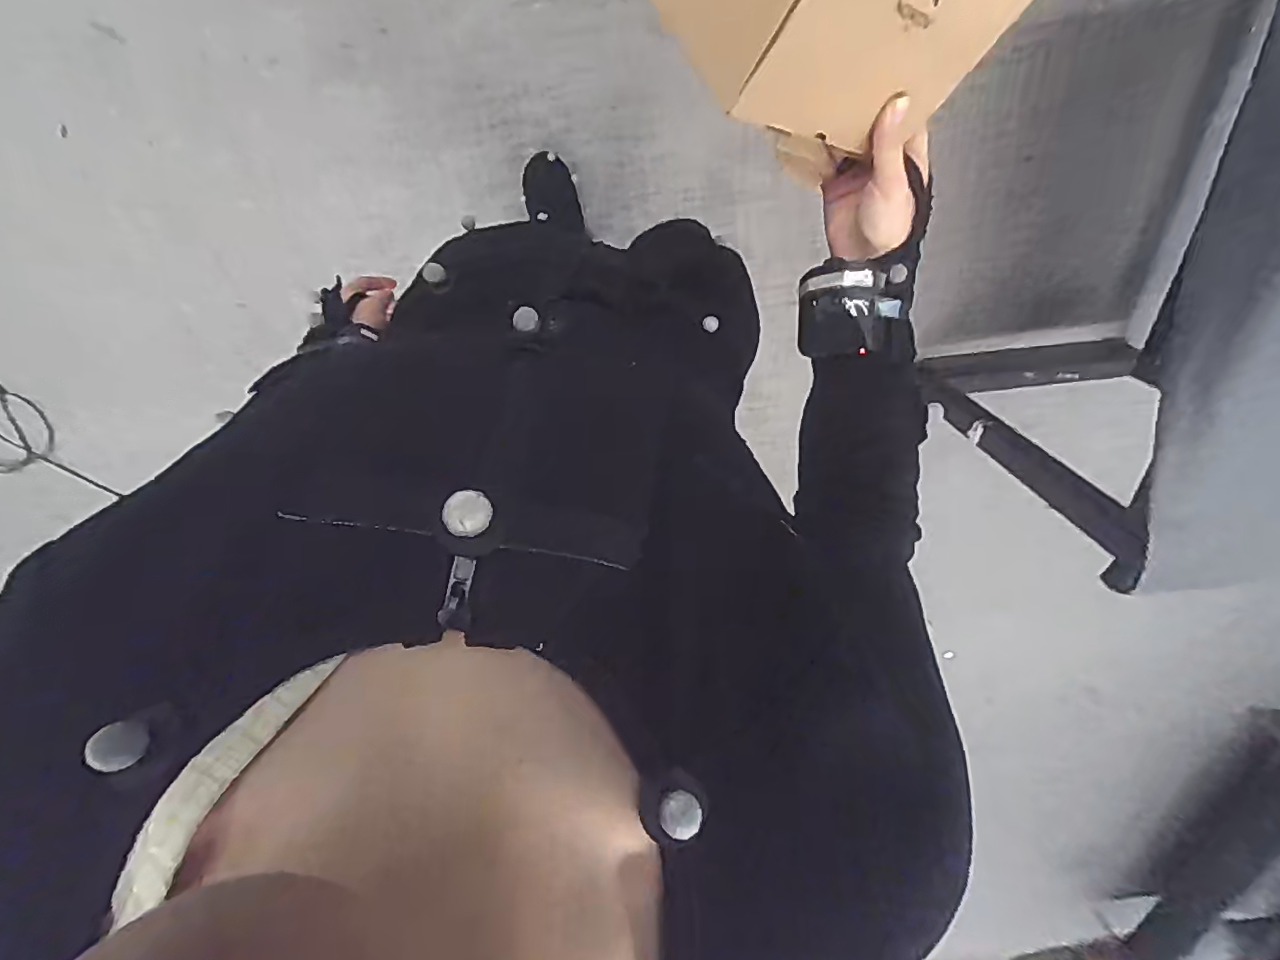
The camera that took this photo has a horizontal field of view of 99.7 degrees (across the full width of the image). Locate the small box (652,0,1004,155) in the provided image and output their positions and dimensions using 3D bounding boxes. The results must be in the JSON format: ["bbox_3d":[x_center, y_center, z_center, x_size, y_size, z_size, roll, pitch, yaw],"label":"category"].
[{"bbox_3d":[0.110,-0.338,0.314,0.168,0.176,0.179,-12,159,-34],"label":"small box"}]
